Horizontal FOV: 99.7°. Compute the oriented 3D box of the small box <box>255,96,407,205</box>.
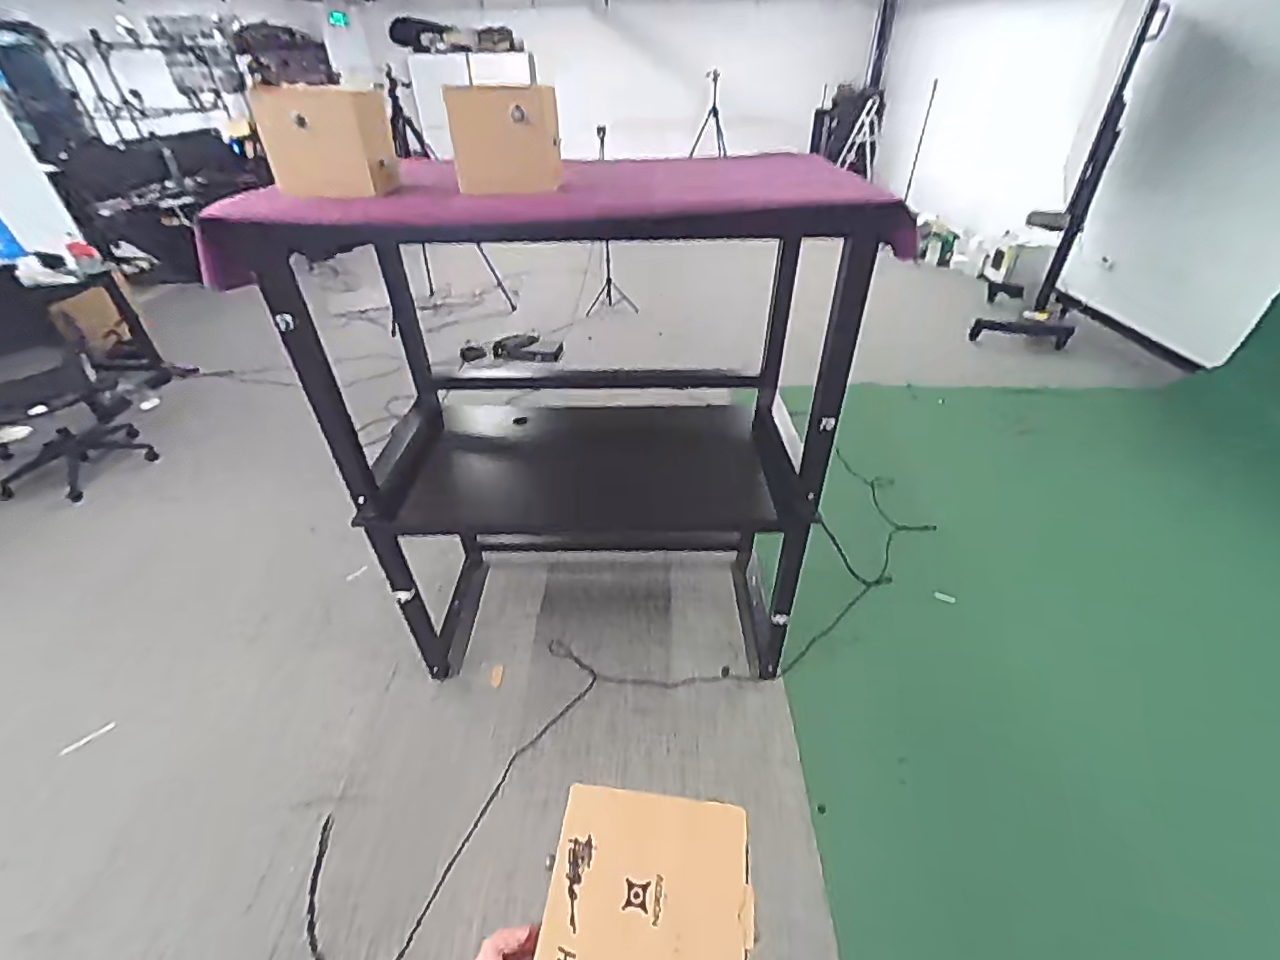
[{"bbox_3d":[-0.577,-0.631,1.037,0.179,0.176,0.168,-1,37,-2],"label":"small box"}]

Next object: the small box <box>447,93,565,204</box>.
[{"bbox_3d":[-0.245,-0.640,1.043,0.179,0.176,0.168,0,35,2],"label":"small box"}]

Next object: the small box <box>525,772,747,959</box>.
[{"bbox_3d":[0.005,0.412,0.522,0.179,0.176,0.168,4,43,9],"label":"small box"}]
